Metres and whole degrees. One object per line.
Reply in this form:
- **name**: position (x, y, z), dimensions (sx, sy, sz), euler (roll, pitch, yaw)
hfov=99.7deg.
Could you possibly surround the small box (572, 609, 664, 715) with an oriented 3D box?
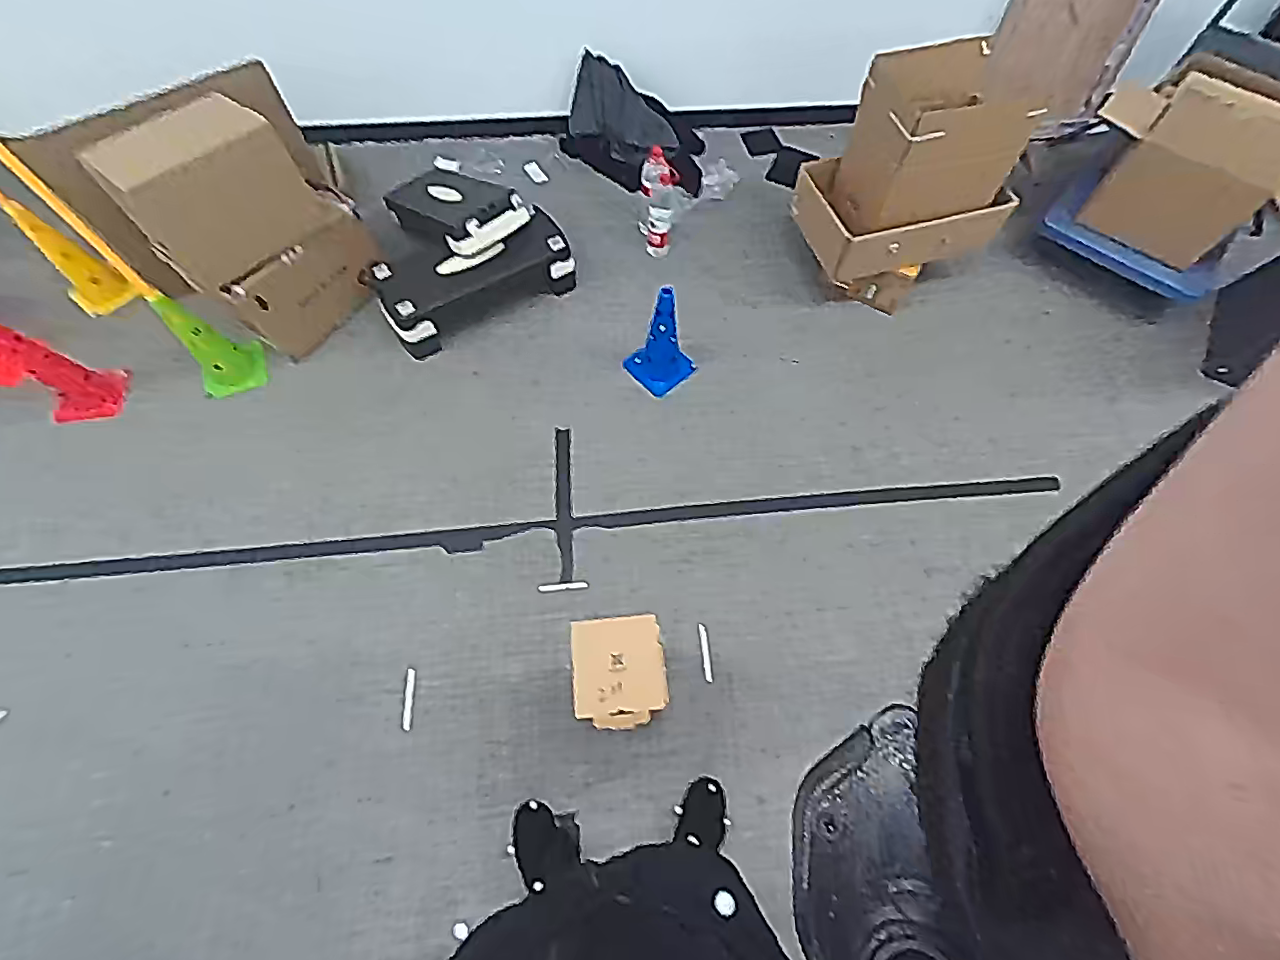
- **small box**: position (-0.048, 0.367, 1.080), dimensions (0.168, 0.176, 0.179), euler (-4, 65, -4)
